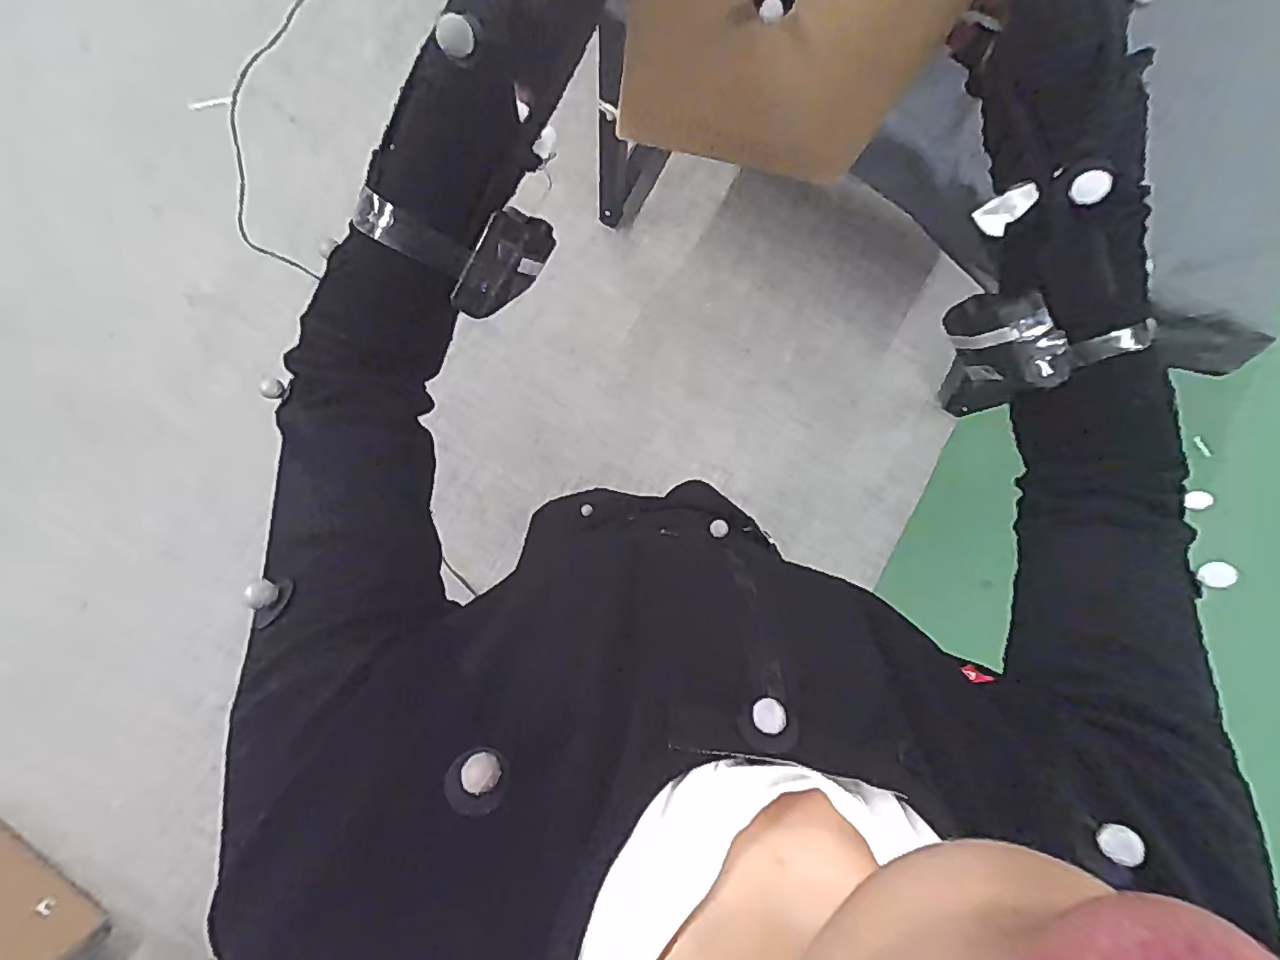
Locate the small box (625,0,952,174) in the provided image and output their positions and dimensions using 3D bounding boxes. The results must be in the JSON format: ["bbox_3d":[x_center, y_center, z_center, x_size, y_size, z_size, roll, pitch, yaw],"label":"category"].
[{"bbox_3d":[0.091,-0.334,0.347,0.179,0.176,0.168,9,82,-7],"label":"small box"}]
